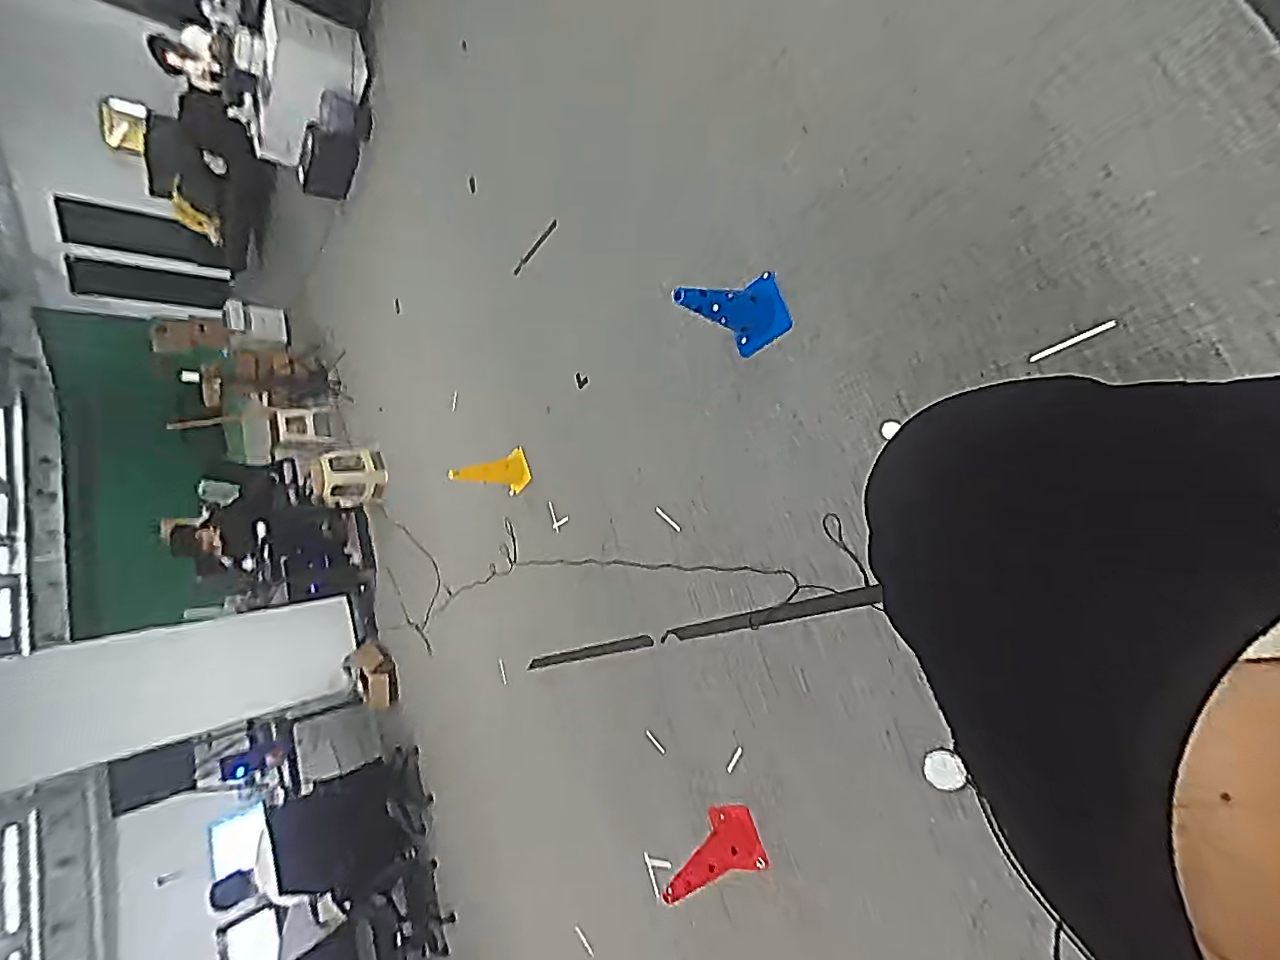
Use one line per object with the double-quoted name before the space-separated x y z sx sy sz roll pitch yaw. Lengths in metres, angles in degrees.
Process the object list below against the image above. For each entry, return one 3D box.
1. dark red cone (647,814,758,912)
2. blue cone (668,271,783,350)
"dark red cone" 0.178 1.247 1.720 0.202 0.394 0.201 -39 65 42
"blue cone" 0.223 -0.505 1.545 0.193 0.380 0.192 -28 72 45
